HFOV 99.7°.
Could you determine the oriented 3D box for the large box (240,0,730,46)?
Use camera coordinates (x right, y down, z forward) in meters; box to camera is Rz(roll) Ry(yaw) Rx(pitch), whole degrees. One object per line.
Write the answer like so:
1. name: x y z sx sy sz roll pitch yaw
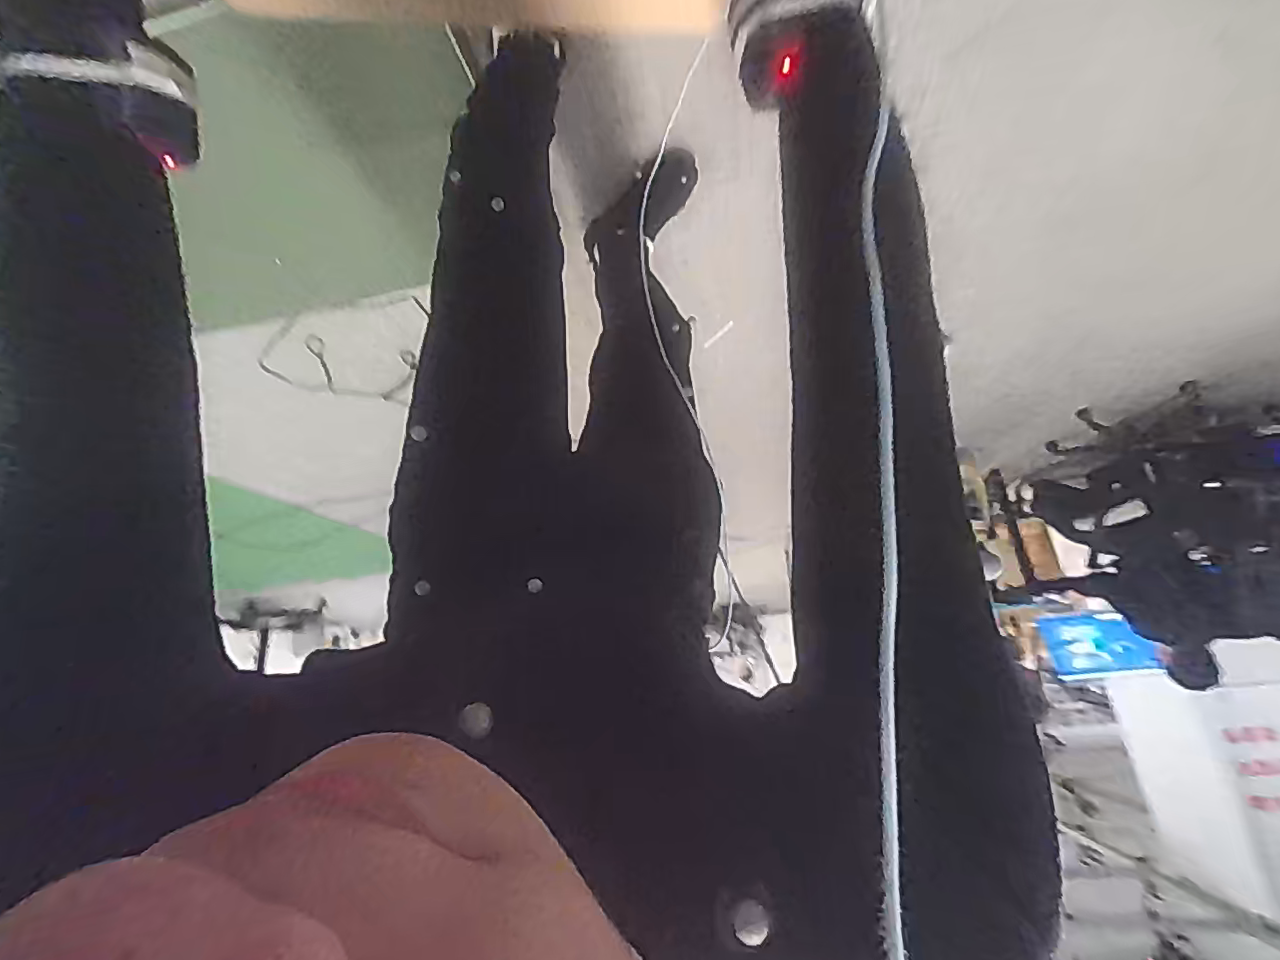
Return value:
1. large box: -0.126 -0.576 0.382 0.408 0.320 0.320 -3 160 -7
